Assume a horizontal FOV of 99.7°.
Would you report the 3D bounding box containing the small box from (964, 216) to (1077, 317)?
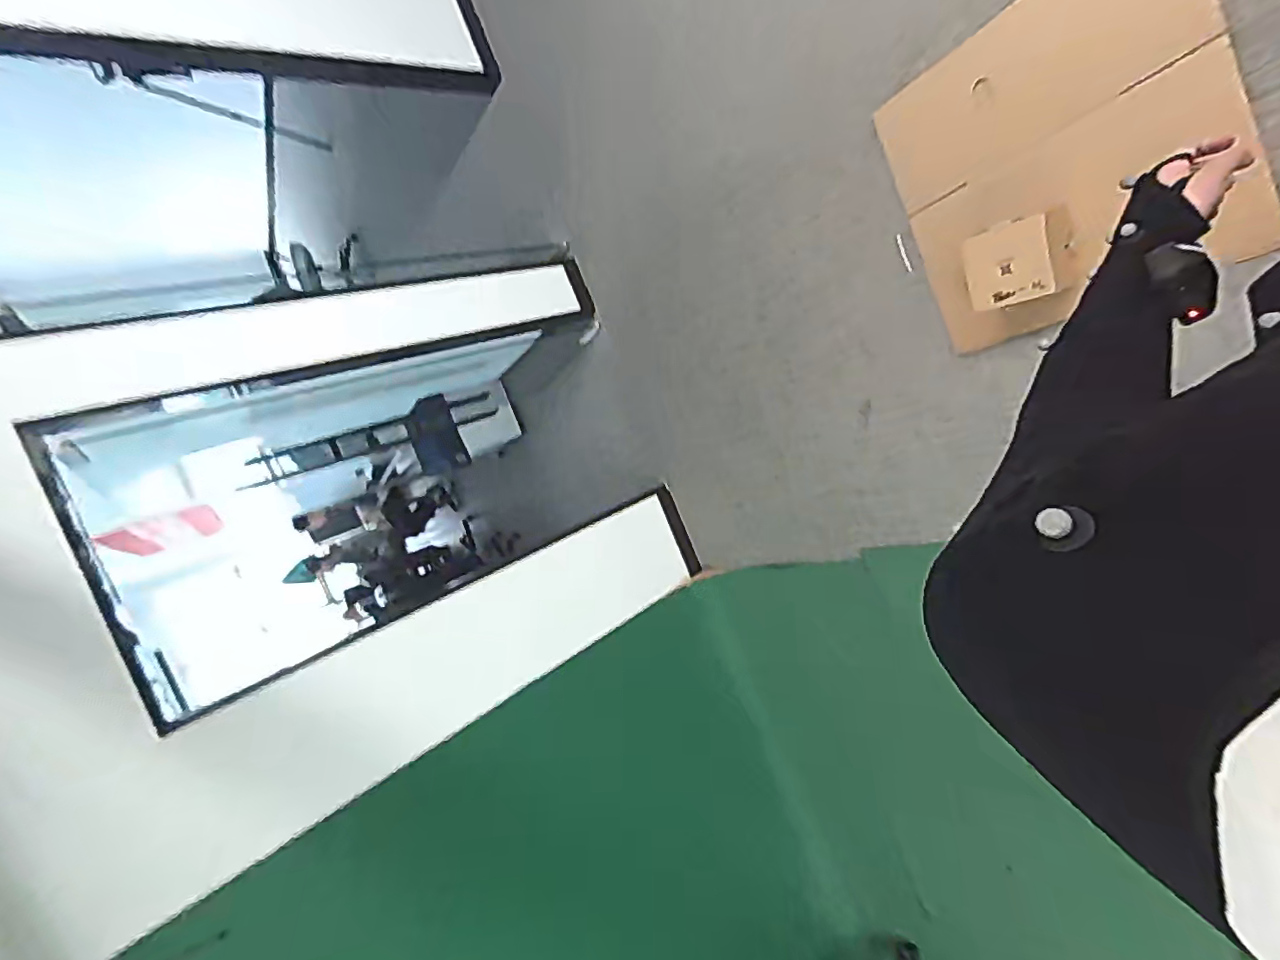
[{"bbox_3d":[0.888,-0.496,1.260,0.168,0.176,0.179,-3,107,53],"label":"small box"}]
